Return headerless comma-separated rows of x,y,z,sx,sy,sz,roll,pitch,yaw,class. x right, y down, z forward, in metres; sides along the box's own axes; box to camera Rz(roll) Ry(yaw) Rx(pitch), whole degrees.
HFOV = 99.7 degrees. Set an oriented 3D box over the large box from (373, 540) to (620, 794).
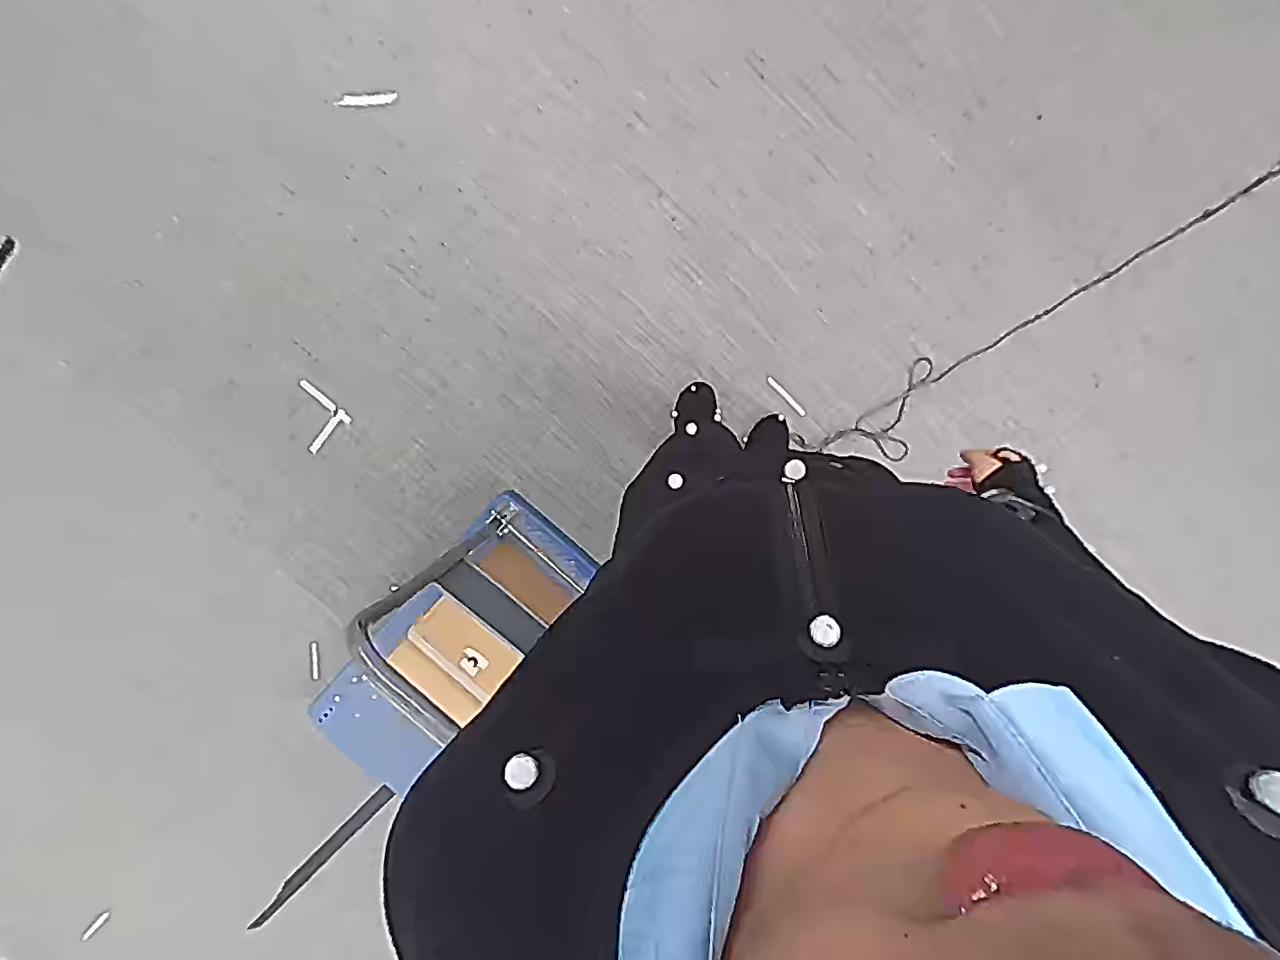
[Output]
-0.306,0.413,1.269,0.408,0.320,0.320,43,99,-3,large box
